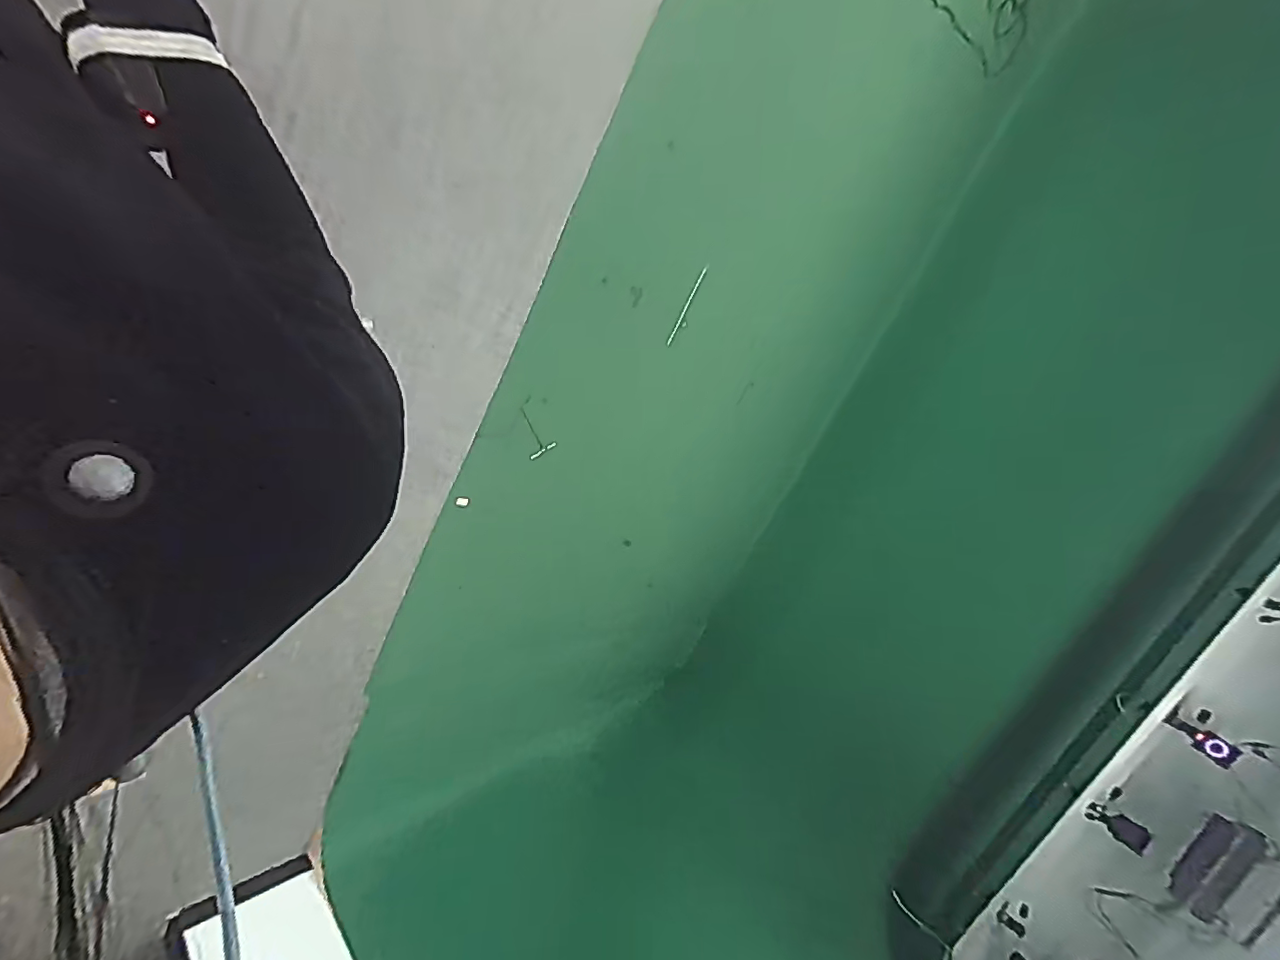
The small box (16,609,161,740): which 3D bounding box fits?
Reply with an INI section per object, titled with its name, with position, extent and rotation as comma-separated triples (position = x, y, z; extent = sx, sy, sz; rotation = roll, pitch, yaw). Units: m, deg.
[small box]
position = -1.139, 0.388, 1.118
extent = 0.179, 0.176, 0.168
rotation = 3, 116, -56
